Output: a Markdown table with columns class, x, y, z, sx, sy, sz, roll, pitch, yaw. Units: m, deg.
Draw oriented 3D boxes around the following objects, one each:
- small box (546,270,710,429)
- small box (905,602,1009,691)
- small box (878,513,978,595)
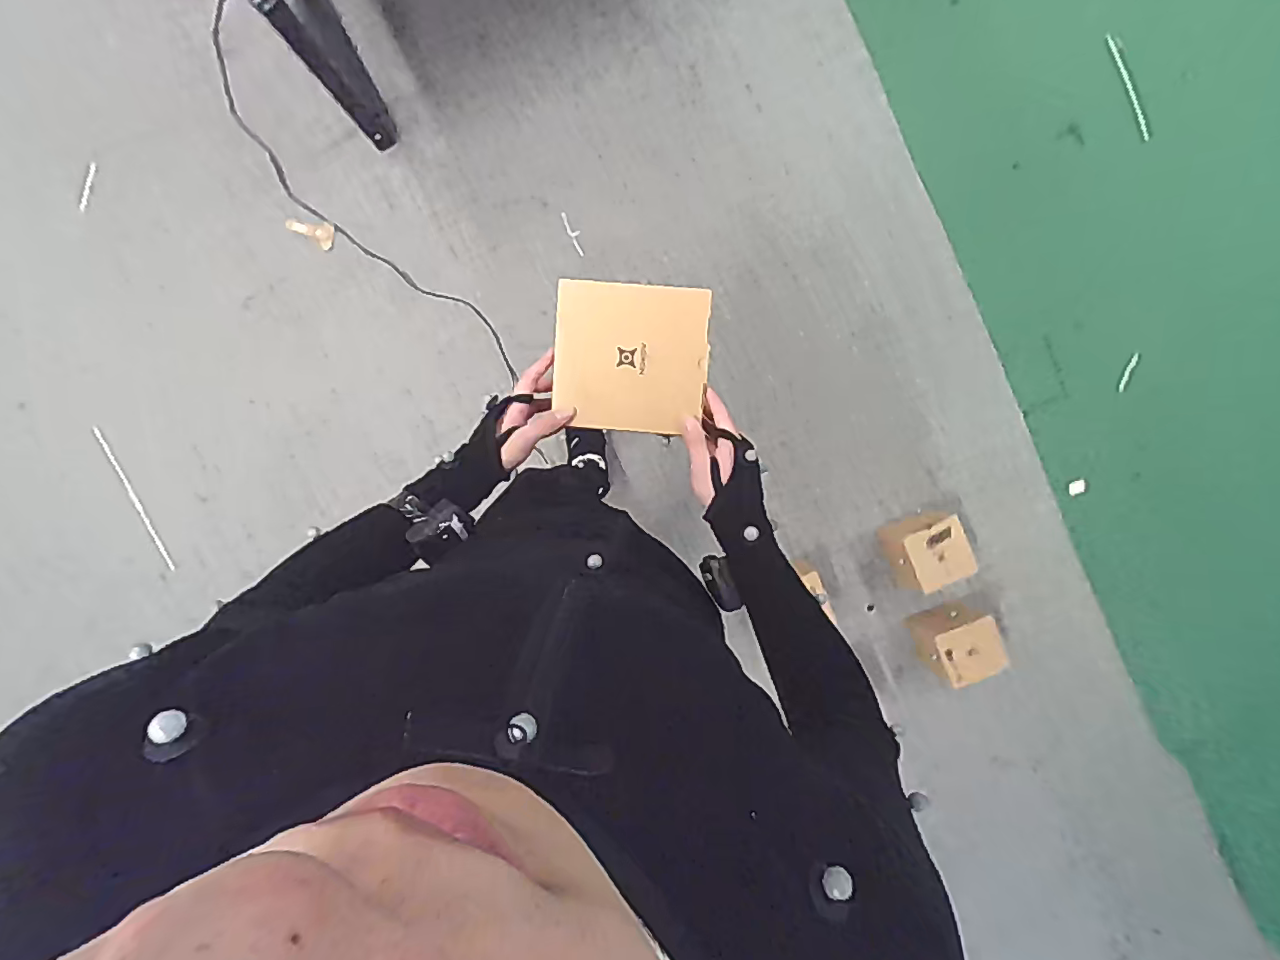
| class | x | y | z | sx | sy | sz | roll | pitch | yaw |
| --- | --- | --- | --- | --- | --- | --- | --- | --- | --- |
| small box | -0.013 | -0.152 | 0.680 | 0.179 | 0.176 | 0.168 | 3 | 95 | 0 |
| small box | 0.916 | 0.475 | 1.576 | 0.179 | 0.176 | 0.168 | -22 | 94 | 0 |
| small box | 0.818 | 0.203 | 1.557 | 0.168 | 0.176 | 0.179 | -23 | 94 | 1 |
